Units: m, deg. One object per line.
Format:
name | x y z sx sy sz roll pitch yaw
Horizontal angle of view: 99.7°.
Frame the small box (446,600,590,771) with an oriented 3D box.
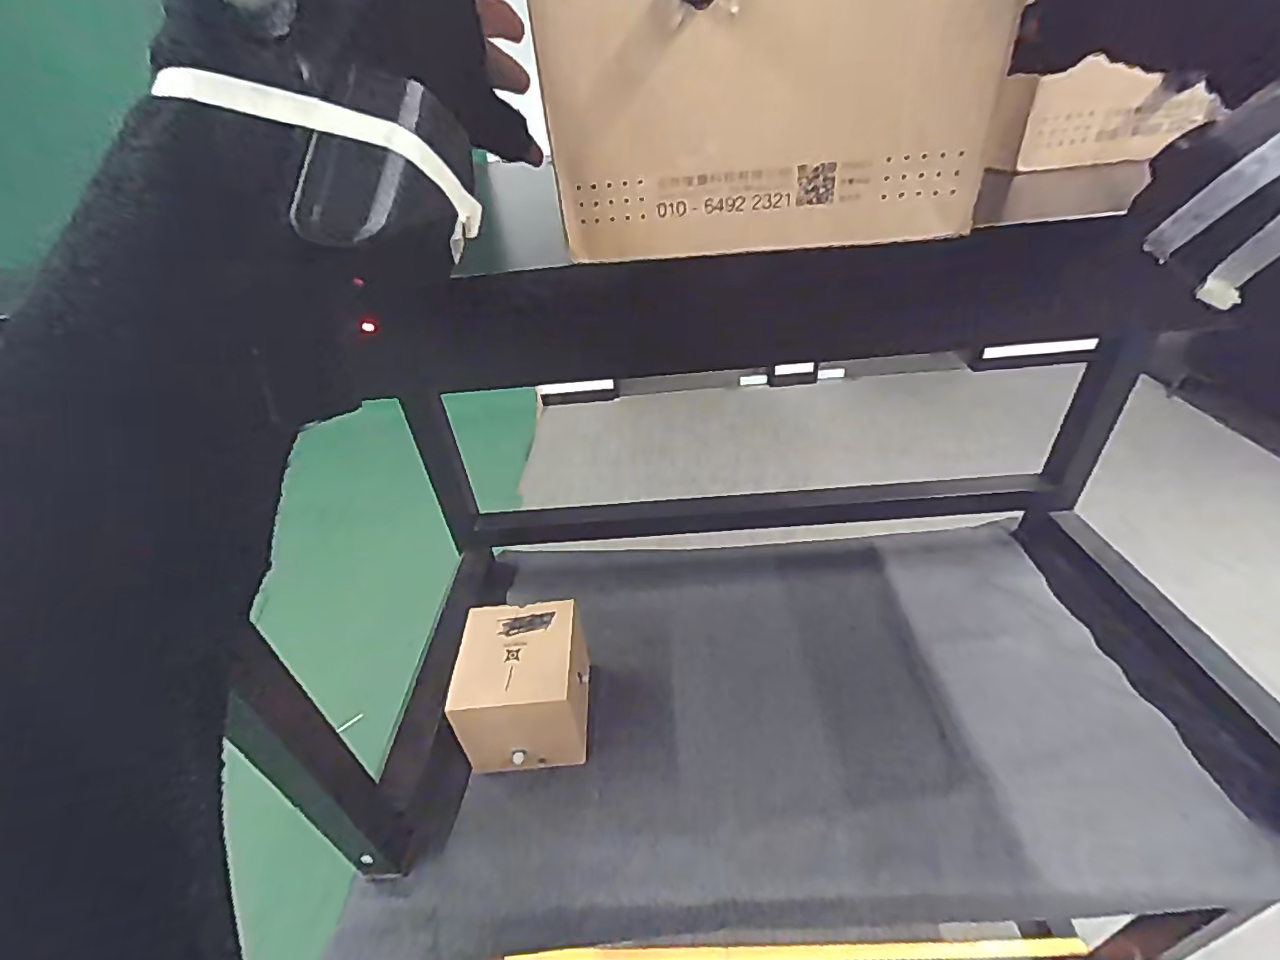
small box | -0.171 0.309 0.820 0.168 0.176 0.179 -6 36 1
